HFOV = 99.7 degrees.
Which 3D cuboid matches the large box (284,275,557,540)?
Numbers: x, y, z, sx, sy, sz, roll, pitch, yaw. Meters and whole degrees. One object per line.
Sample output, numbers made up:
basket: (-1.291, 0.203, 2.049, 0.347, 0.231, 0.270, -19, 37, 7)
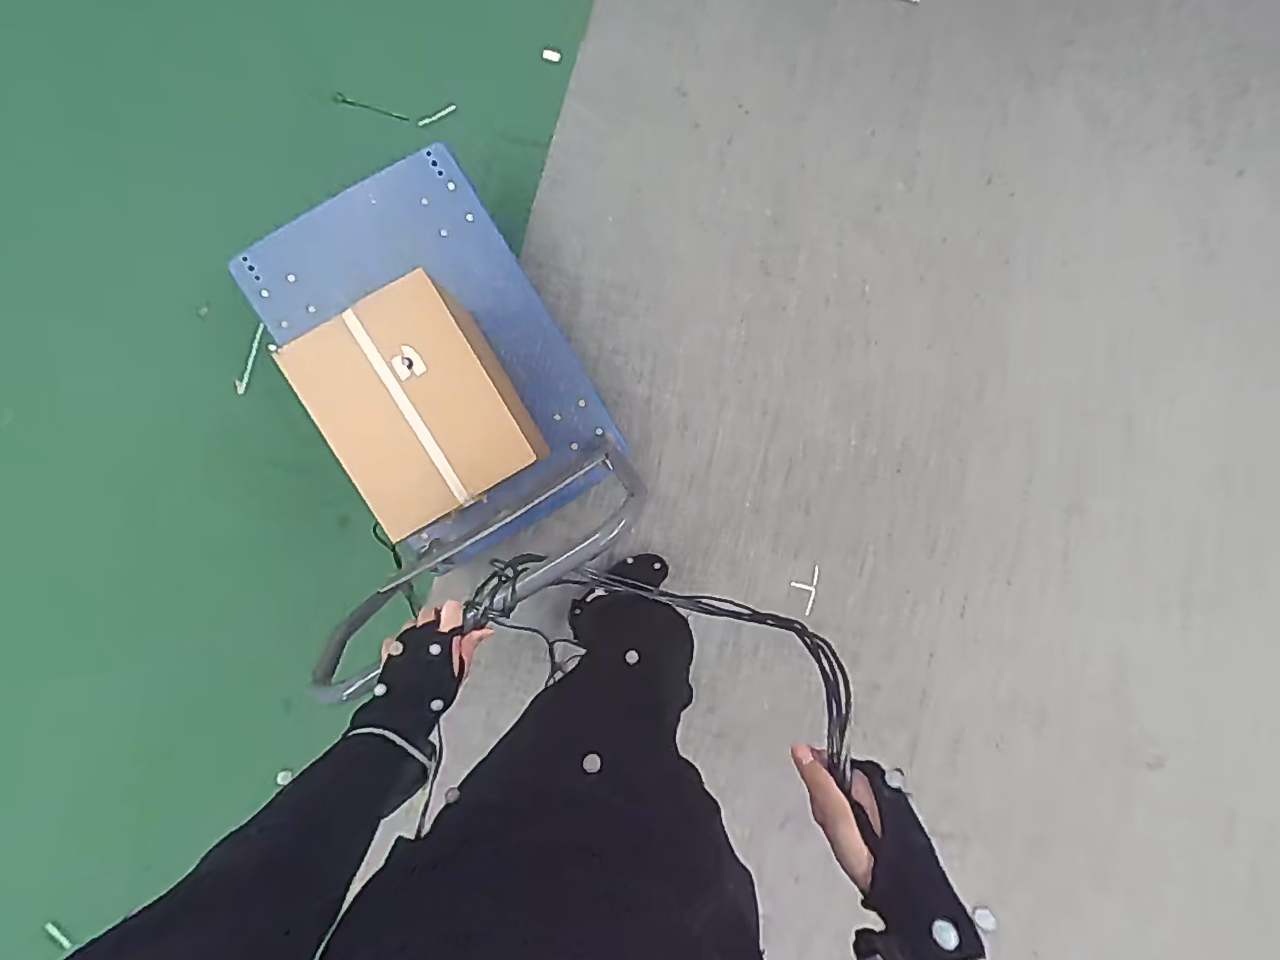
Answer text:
large box: (-0.420, -0.138, 1.142, 0.320, 0.320, 0.408, -31, 94, -2)
